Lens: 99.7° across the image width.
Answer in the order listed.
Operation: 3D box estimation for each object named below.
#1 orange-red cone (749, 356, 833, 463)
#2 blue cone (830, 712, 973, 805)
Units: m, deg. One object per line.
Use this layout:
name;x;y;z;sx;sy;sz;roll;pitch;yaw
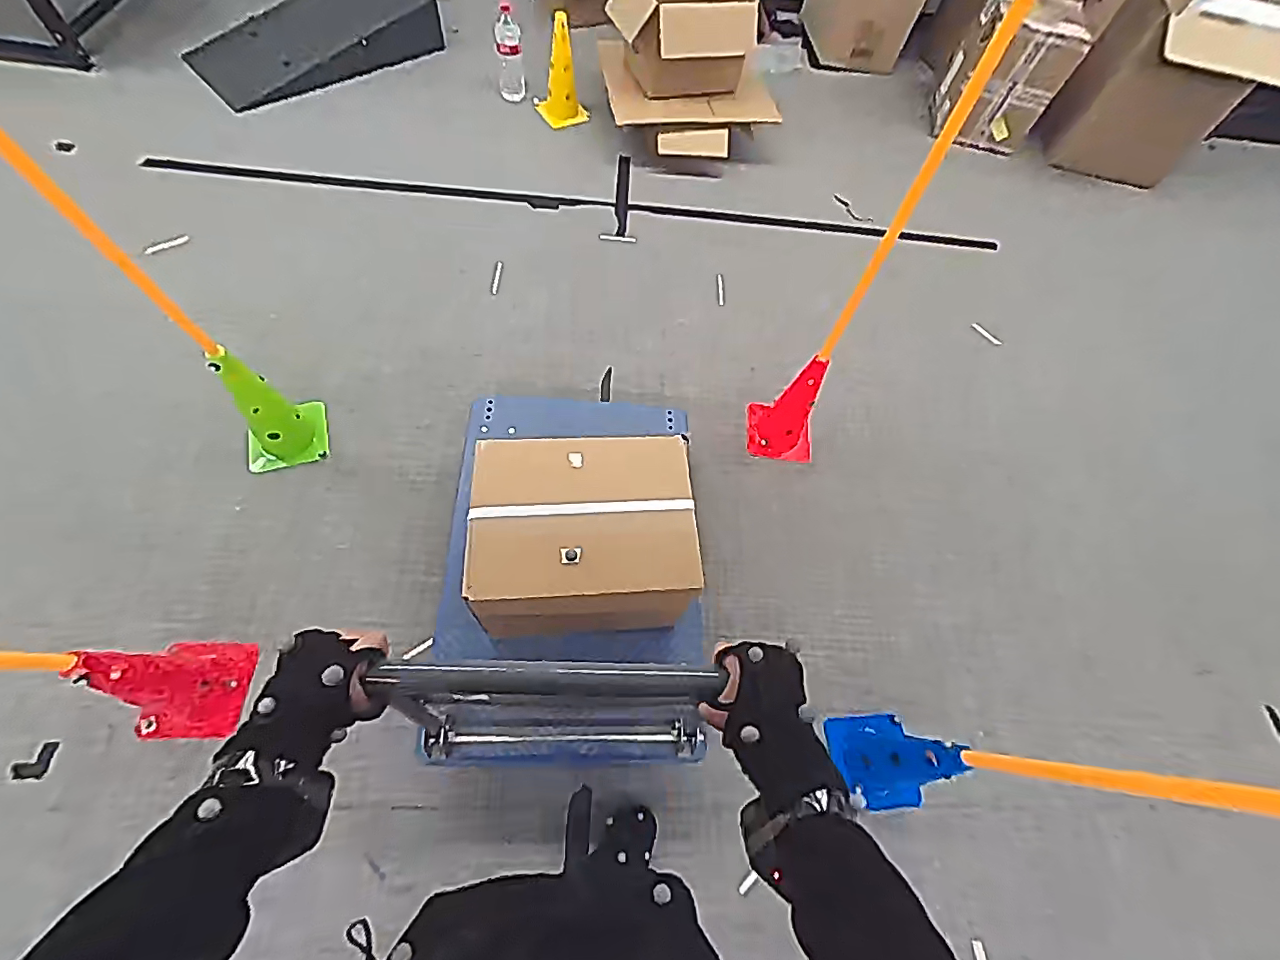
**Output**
orange-red cone;0.464;-0.227;1.549;0.199;0.360;0.198;10;62;-3
blue cone;0.577;0.581;1.145;0.193;0.380;0.192;0;61;-7
